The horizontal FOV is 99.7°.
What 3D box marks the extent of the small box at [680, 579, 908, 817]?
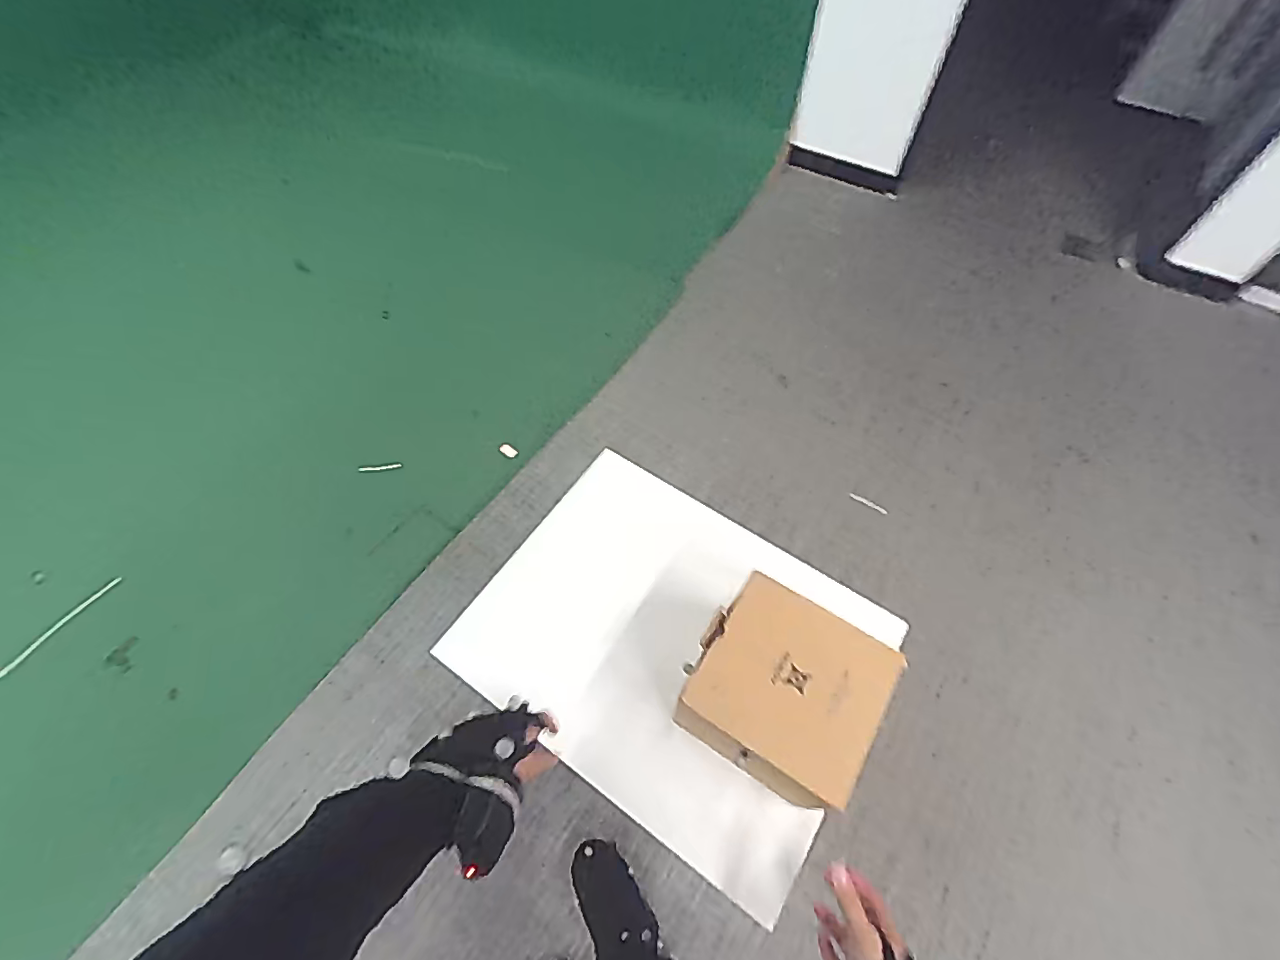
[{"bbox_3d":[0.157,0.246,0.605,0.179,0.176,0.168,29,64,17],"label":"small box"}]
